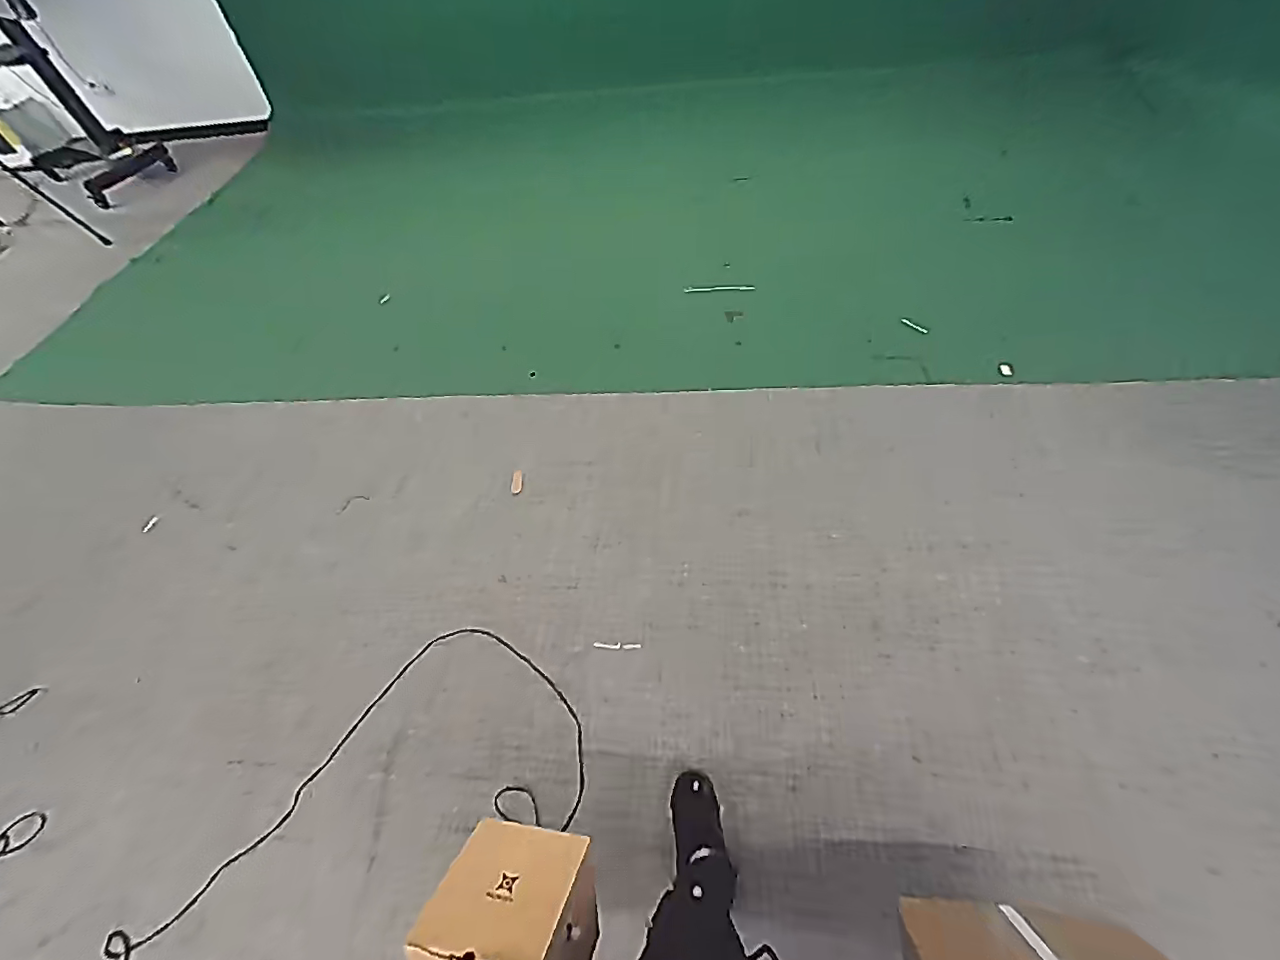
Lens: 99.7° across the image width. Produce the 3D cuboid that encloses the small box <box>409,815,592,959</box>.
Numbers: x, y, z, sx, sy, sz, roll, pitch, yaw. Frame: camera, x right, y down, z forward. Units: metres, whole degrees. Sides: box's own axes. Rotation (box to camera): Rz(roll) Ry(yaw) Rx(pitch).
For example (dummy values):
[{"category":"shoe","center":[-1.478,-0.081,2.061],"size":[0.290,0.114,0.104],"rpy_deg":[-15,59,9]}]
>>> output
[{"category":"small box","center":[-0.165,0.581,0.693],"size":[0.168,0.176,0.179],"rpy_deg":[1,15,15]}]
